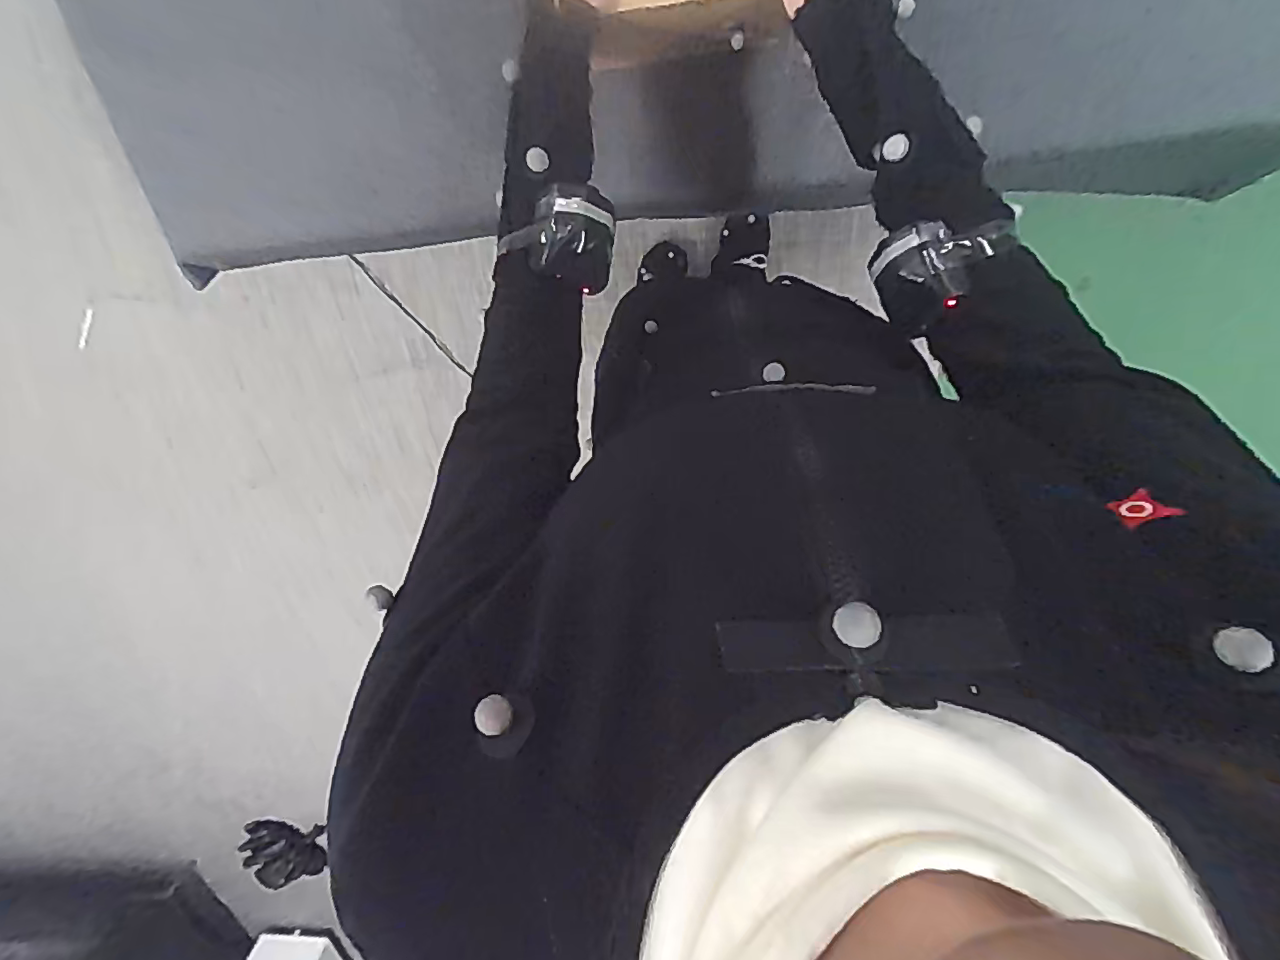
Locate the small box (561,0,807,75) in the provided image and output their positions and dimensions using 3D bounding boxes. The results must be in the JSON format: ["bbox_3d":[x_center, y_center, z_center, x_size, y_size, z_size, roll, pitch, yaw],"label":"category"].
[{"bbox_3d":[0.030,-0.432,0.407,0.179,0.176,0.168,-4,116,9],"label":"small box"}]

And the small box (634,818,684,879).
[{"bbox_3d":[0.086,1.581,2.317,0.179,0.176,0.168,-11,117,11],"label":"small box"}]
